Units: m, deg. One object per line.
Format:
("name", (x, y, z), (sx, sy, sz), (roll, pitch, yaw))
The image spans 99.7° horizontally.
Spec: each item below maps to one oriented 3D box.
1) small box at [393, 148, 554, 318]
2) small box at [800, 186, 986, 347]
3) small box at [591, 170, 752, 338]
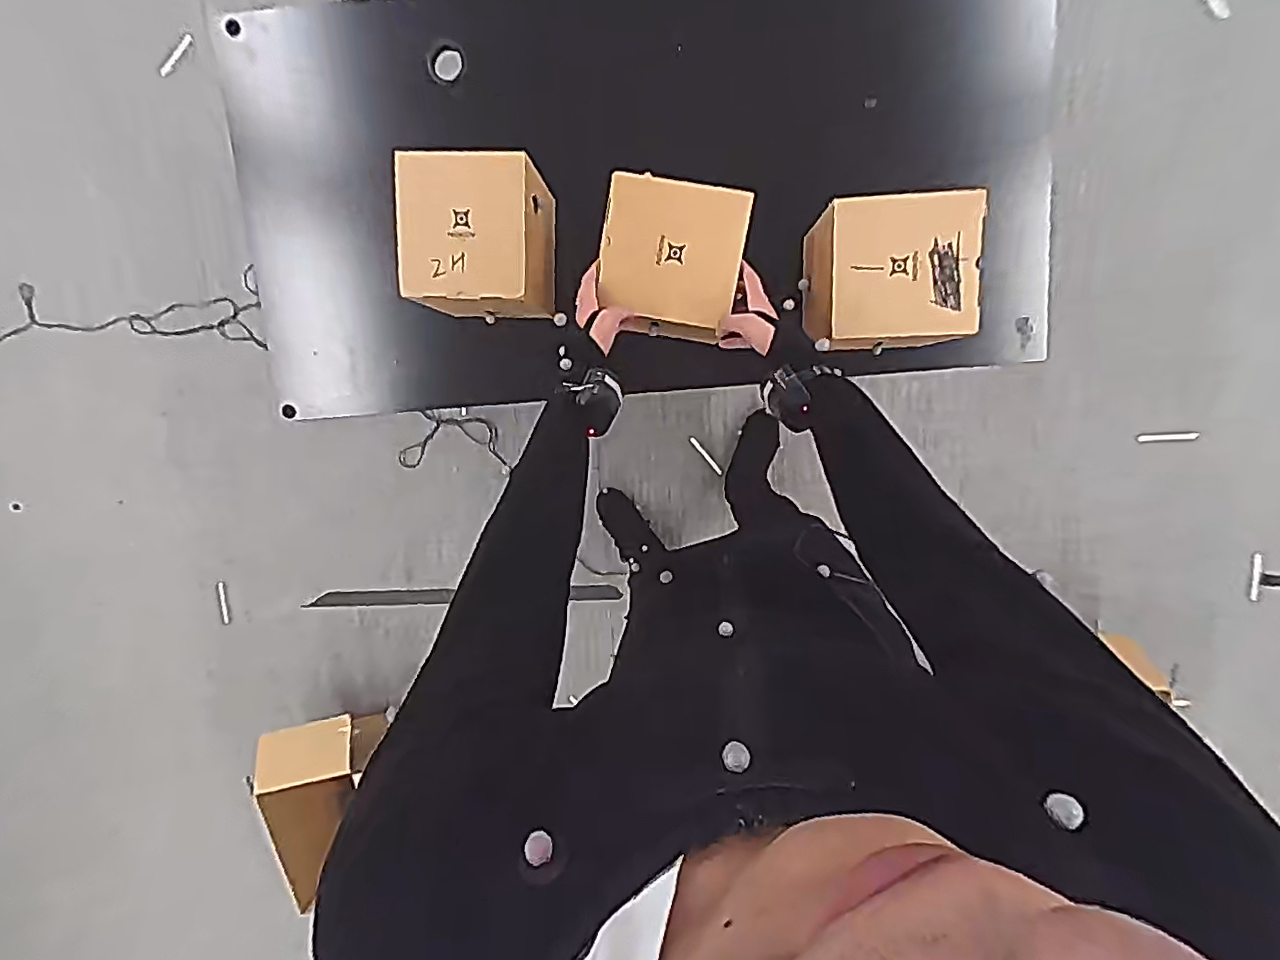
("small box", (-0.219, -0.328, 0.746), (0.168, 0.176, 0.179), (2, 99, 4))
("small box", (0.320, -0.270, 0.719), (0.179, 0.176, 0.168), (-1, 98, 6))
("small box", (0.041, -0.293, 0.737), (0.179, 0.176, 0.168), (9, 99, 3))
